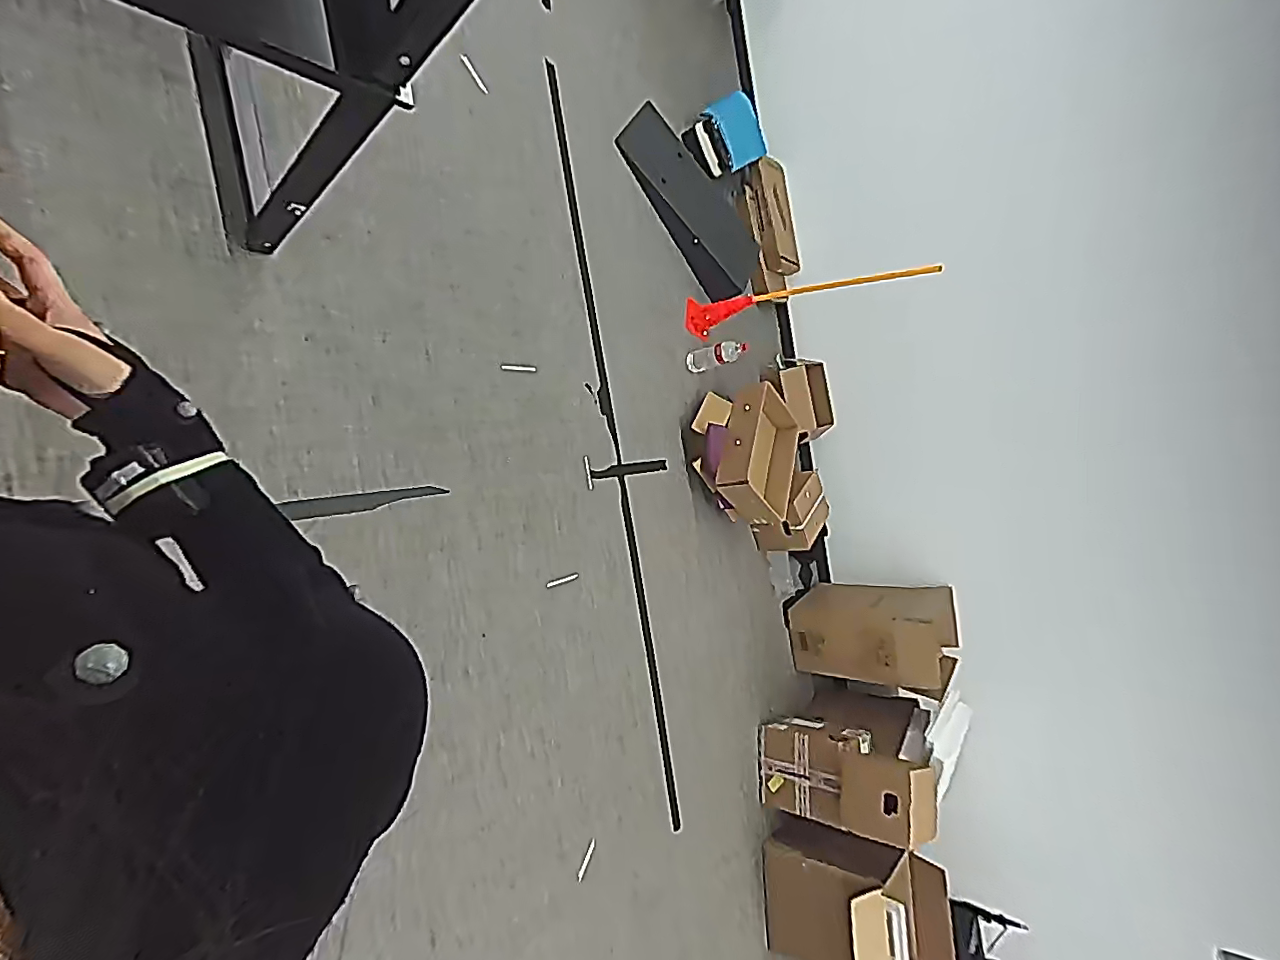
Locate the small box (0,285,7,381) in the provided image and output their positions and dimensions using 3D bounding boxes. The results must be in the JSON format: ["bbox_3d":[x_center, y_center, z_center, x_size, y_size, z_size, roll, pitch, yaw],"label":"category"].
[{"bbox_3d":[-0.449,-0.132,0.262,0.168,0.176,0.179,-6,91,-53],"label":"small box"}]
